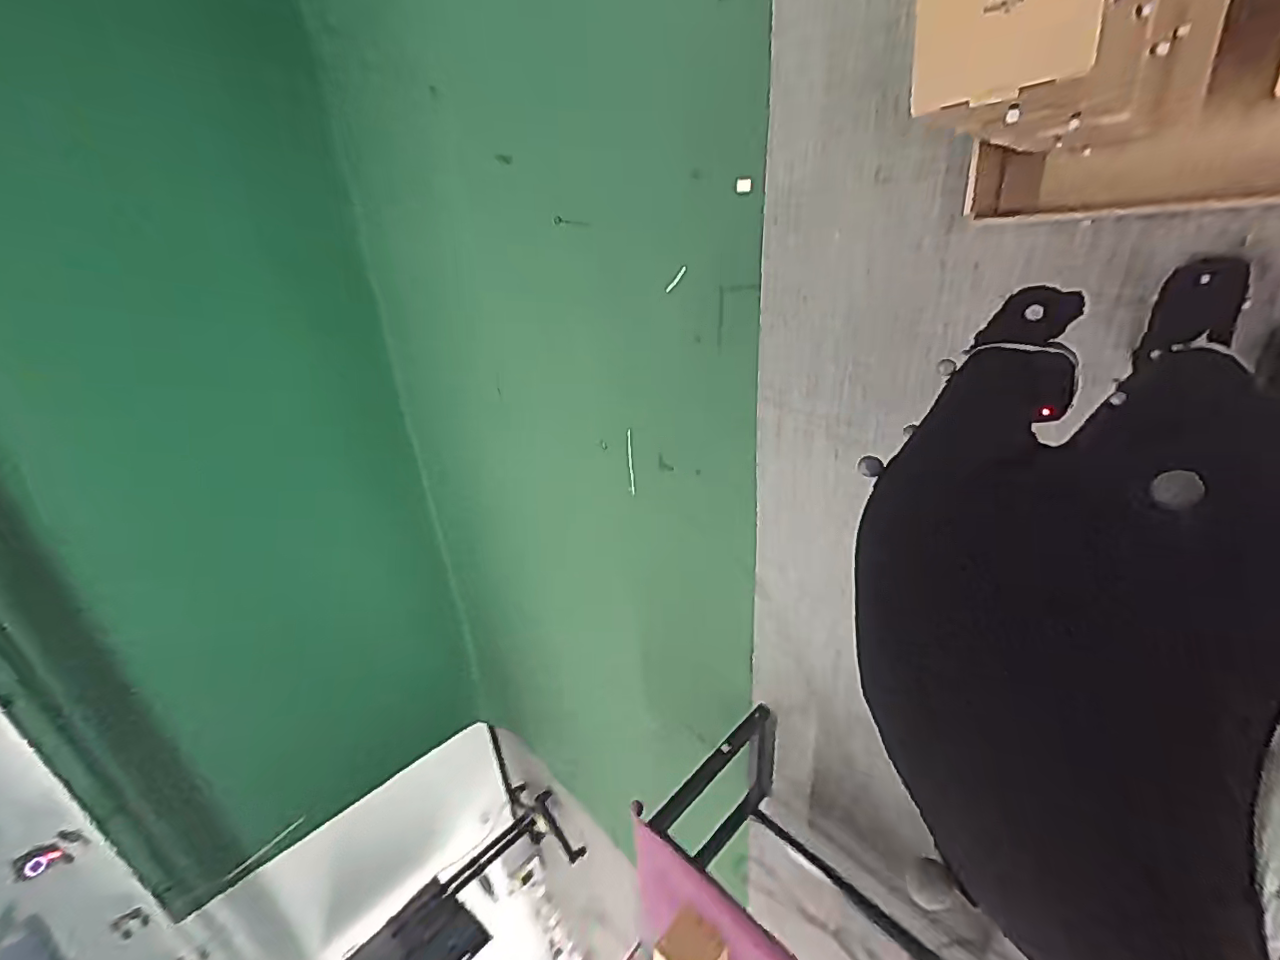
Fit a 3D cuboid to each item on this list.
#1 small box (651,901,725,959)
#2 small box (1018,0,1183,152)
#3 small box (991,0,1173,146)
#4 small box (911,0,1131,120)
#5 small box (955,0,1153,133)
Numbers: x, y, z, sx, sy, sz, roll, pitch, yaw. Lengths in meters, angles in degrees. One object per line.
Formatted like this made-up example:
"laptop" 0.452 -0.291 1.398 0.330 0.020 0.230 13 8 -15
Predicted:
"small box" 0.151 1.490 1.702 0.168 0.176 0.179 28 129 40
"small box" 0.757 -0.657 0.891 0.168 0.176 0.179 20 124 41
"small box" 0.642 -0.604 0.788 0.168 0.176 0.179 18 123 41
"small box" 0.411 -0.503 0.578 0.168 0.176 0.179 15 121 41
"small box" 0.525 -0.555 0.684 0.168 0.176 0.179 16 121 42
